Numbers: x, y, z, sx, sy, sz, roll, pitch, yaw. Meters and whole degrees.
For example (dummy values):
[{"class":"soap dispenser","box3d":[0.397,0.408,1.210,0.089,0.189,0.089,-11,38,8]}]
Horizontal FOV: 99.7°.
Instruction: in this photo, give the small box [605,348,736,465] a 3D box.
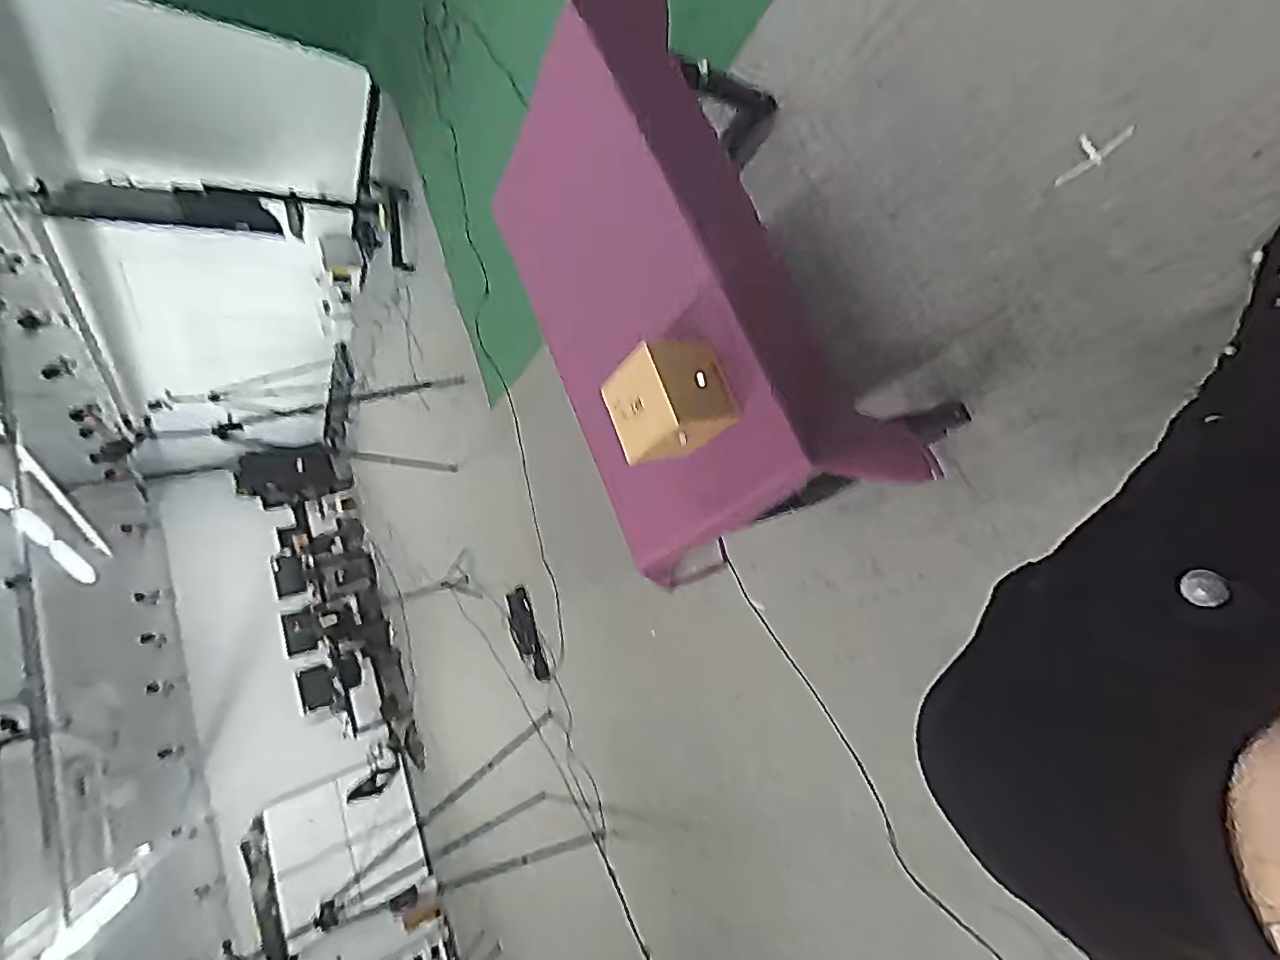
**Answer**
[{"class":"small box","box3d":[0.065,-0.146,1.057,0.179,0.176,0.168,-37,70,51]}]
